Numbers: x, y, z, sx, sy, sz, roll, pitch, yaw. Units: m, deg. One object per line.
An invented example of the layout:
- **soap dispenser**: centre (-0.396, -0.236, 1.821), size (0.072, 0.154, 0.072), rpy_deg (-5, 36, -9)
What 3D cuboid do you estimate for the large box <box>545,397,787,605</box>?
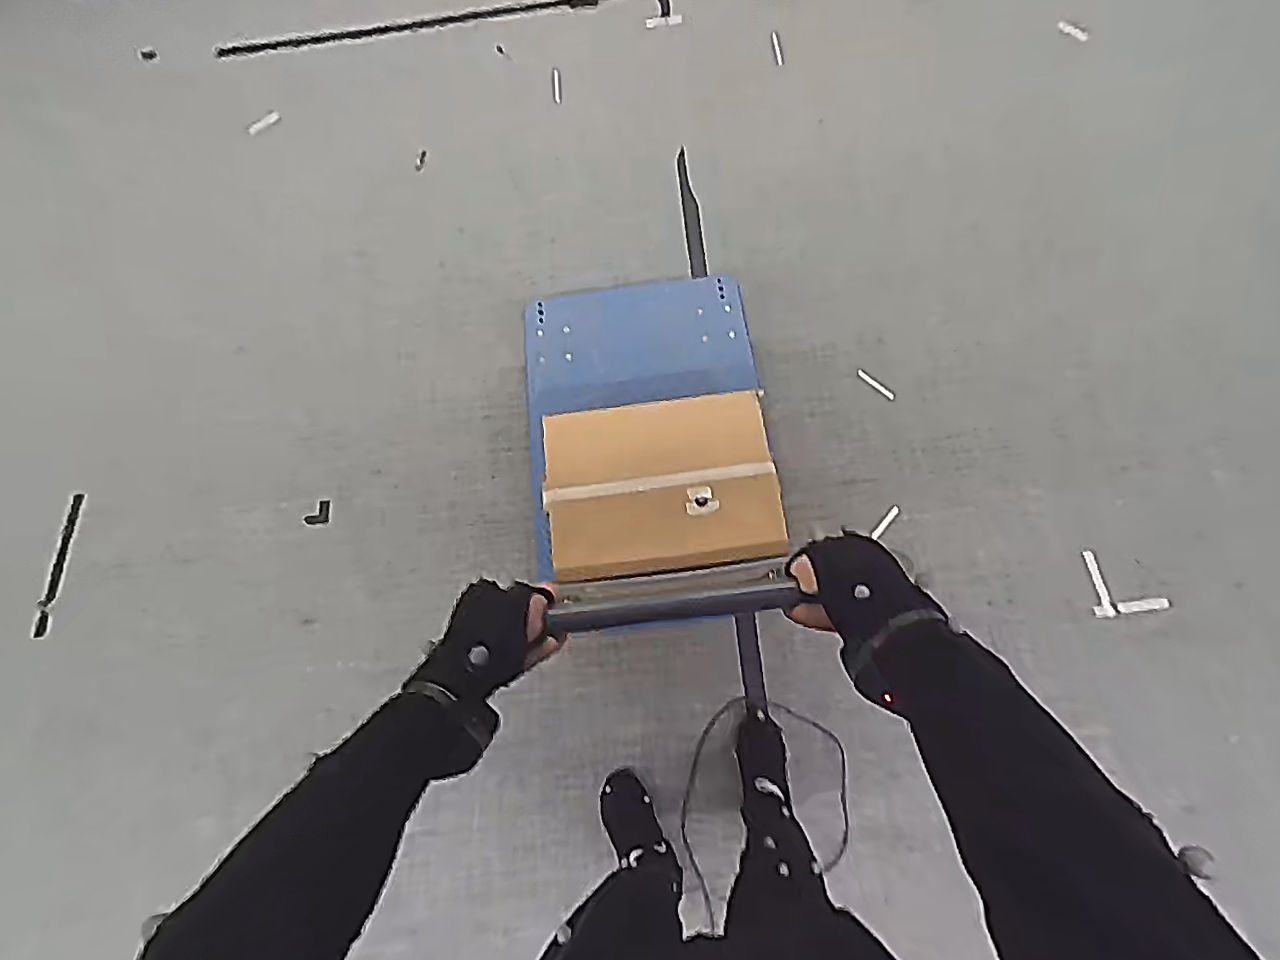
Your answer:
- **large box**: centre (0.042, 0.061, 1.115), size (0.408, 0.320, 0.320), rpy_deg (-8, 73, 0)
